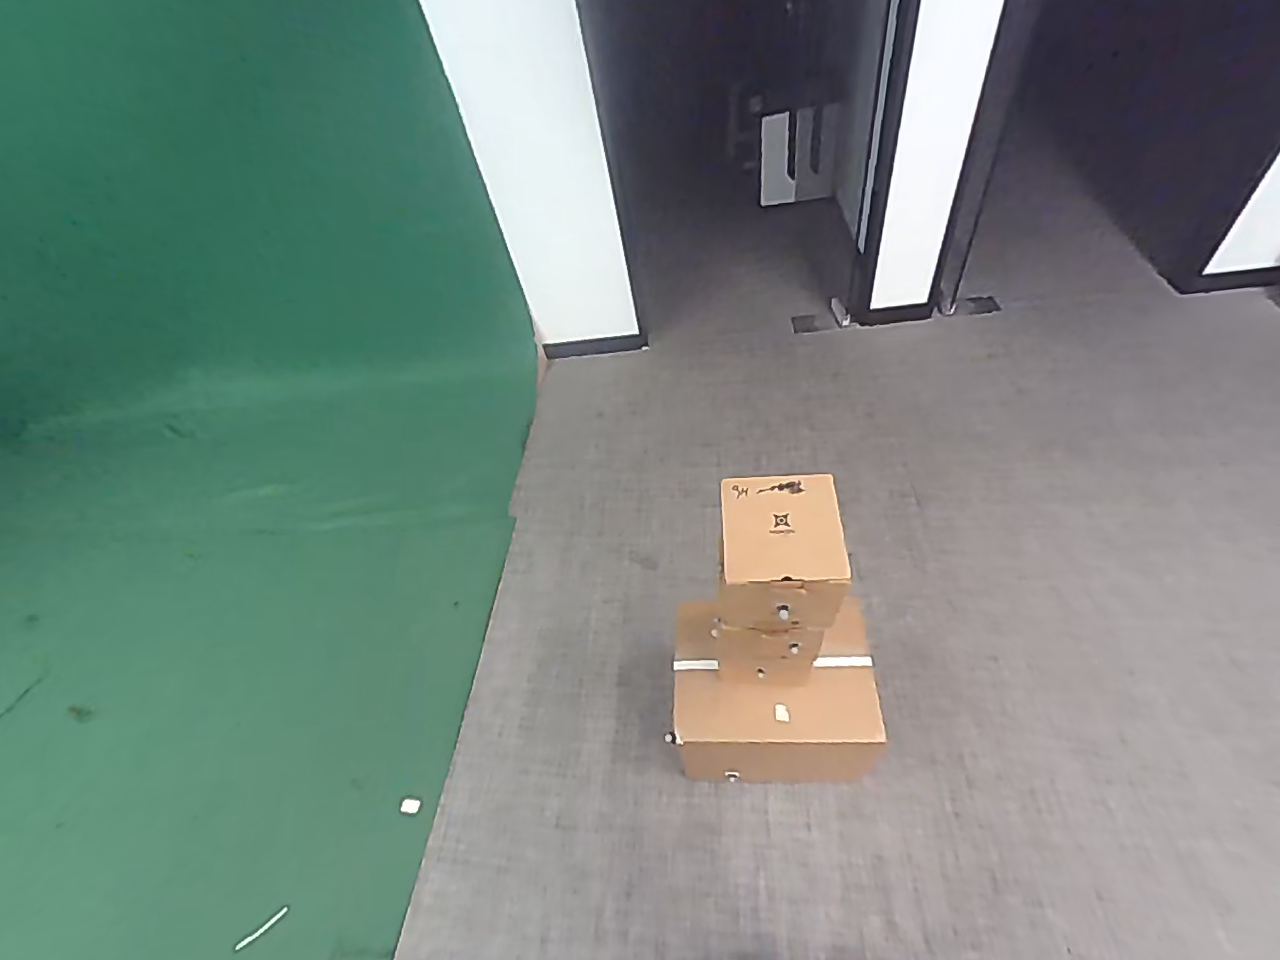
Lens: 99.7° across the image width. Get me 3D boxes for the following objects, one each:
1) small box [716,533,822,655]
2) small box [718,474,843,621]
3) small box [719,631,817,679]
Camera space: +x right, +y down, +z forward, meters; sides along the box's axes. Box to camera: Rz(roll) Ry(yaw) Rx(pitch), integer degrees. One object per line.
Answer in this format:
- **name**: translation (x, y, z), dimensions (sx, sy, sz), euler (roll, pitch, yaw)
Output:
- **small box**: translation (0.225, 0.207, 0.970), dimensions (0.168, 0.176, 0.179), euler (-3, 54, 9)
- **small box**: translation (0.209, 0.111, 0.838), dimensions (0.168, 0.176, 0.179), euler (-3, 56, 9)
- **small box**: translation (0.250, 0.300, 1.099), dimensions (0.179, 0.176, 0.168), euler (-4, 55, 9)
